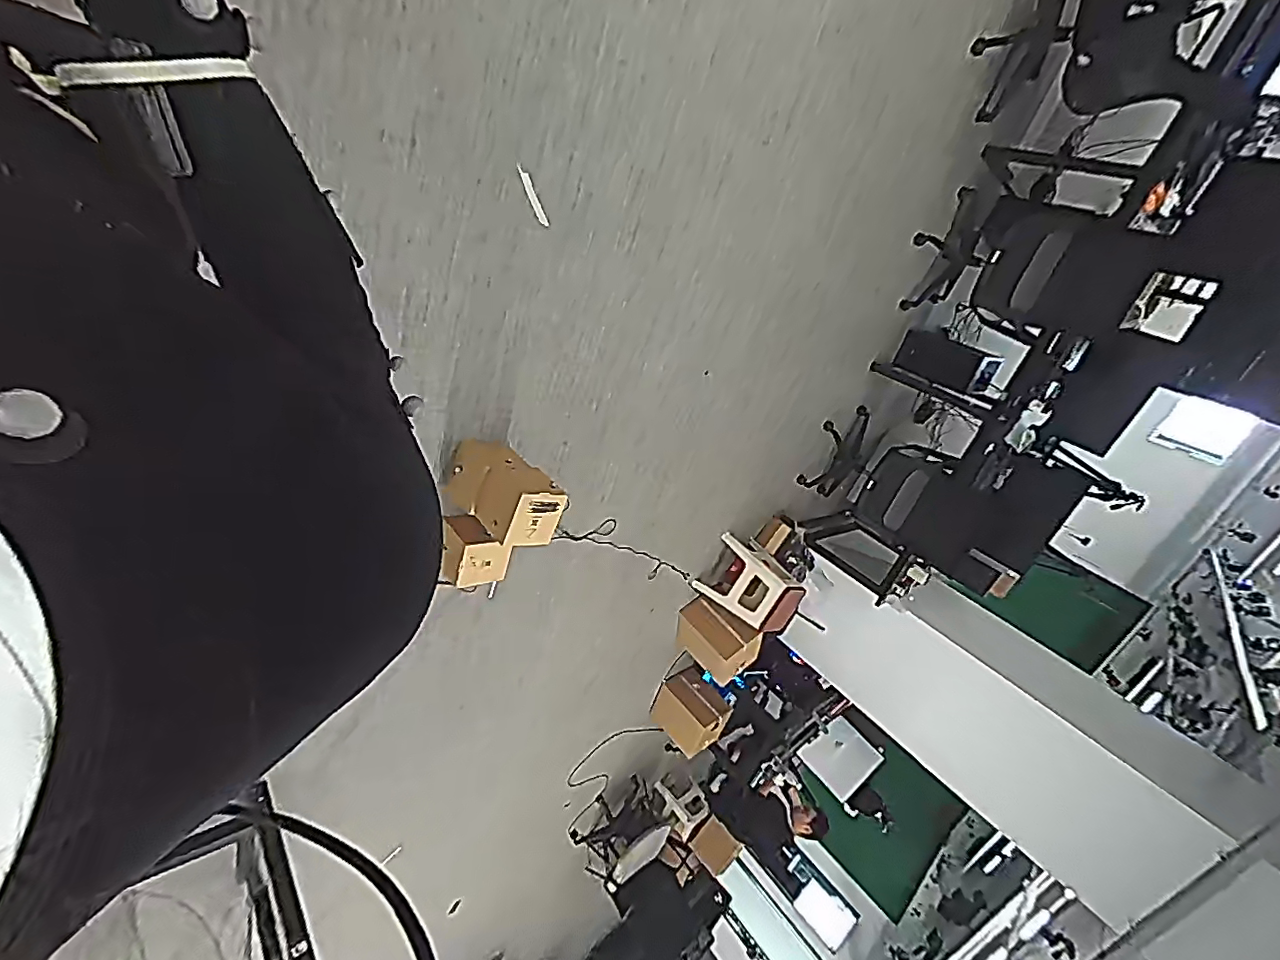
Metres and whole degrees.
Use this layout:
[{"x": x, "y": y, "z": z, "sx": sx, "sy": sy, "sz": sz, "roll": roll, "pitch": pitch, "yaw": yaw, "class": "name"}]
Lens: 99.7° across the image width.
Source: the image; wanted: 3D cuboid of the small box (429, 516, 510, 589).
[{"x": -0.556, "y": 0.228, "z": 1.759, "sx": 0.179, "sy": 0.176, "sz": 0.168, "roll": -2, "pitch": 119, "yaw": -46, "class": "small box"}]

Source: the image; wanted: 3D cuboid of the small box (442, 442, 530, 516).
[{"x": -0.474, "y": -0.003, "z": 1.659, "sx": 0.179, "sy": 0.176, "sz": 0.168, "roll": 6, "pitch": 114, "yaw": -48, "class": "small box"}]
